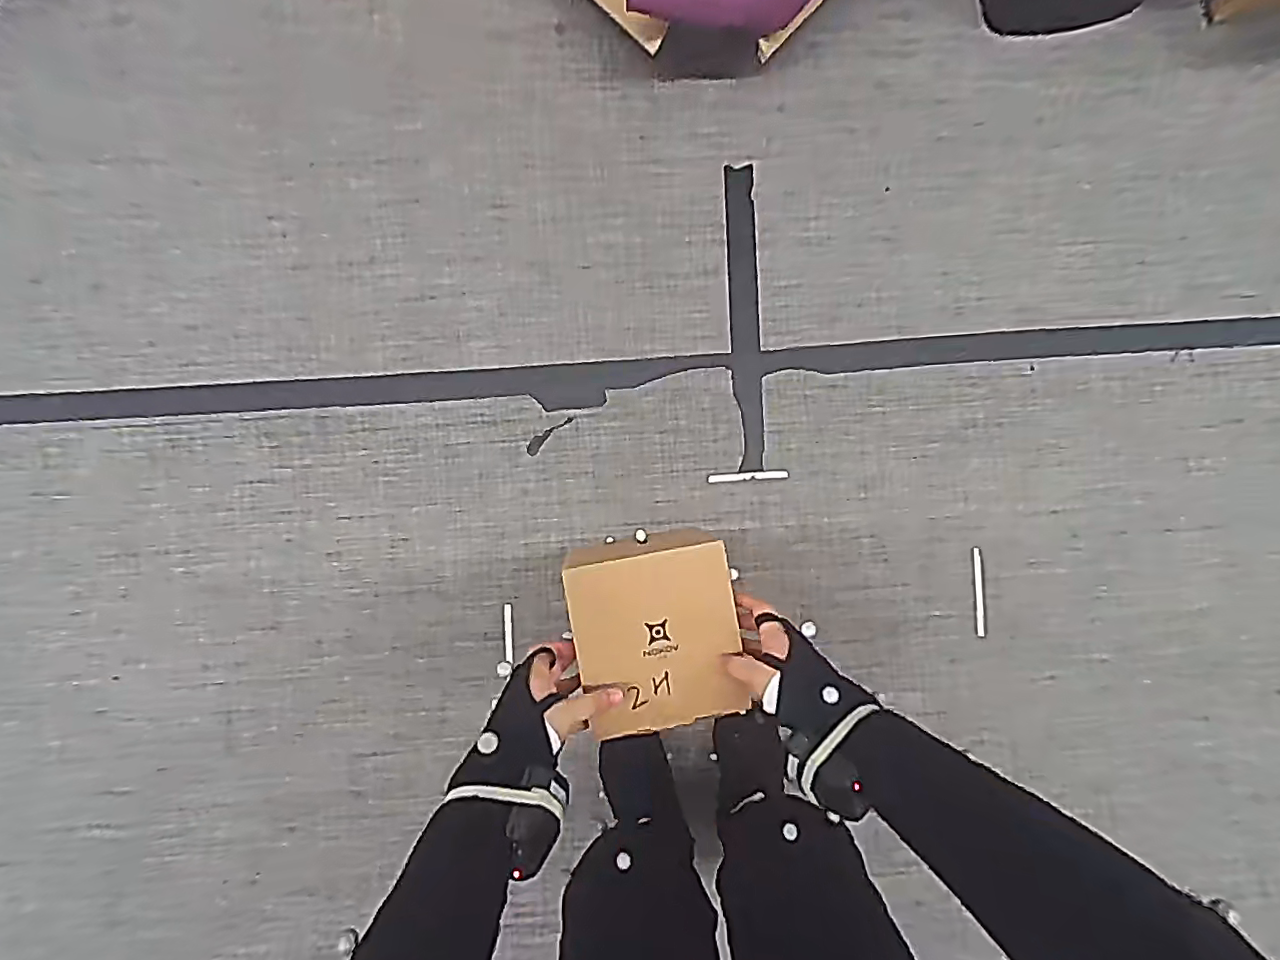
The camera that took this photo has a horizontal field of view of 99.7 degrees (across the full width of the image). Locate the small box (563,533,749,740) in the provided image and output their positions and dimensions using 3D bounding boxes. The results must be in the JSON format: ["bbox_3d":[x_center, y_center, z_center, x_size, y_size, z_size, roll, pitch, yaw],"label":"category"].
[{"bbox_3d":[0.011,0.160,0.618,0.168,0.176,0.179,-10,91,-3],"label":"small box"}]
